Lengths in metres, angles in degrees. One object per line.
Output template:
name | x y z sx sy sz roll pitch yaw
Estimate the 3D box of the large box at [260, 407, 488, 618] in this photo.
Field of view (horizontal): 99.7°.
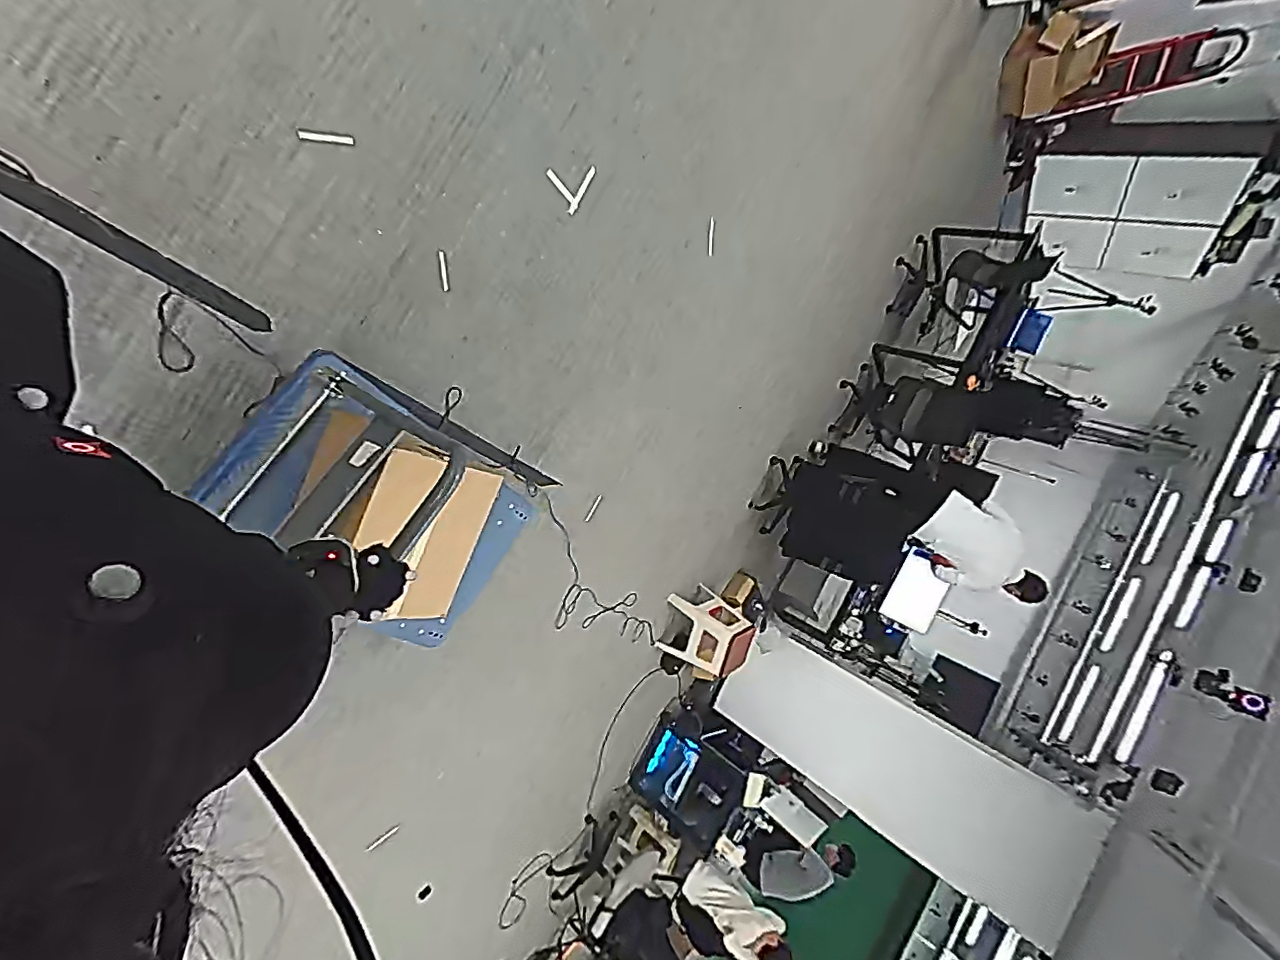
large box | -0.649 0.083 1.329 0.320 0.320 0.408 21 94 -54
